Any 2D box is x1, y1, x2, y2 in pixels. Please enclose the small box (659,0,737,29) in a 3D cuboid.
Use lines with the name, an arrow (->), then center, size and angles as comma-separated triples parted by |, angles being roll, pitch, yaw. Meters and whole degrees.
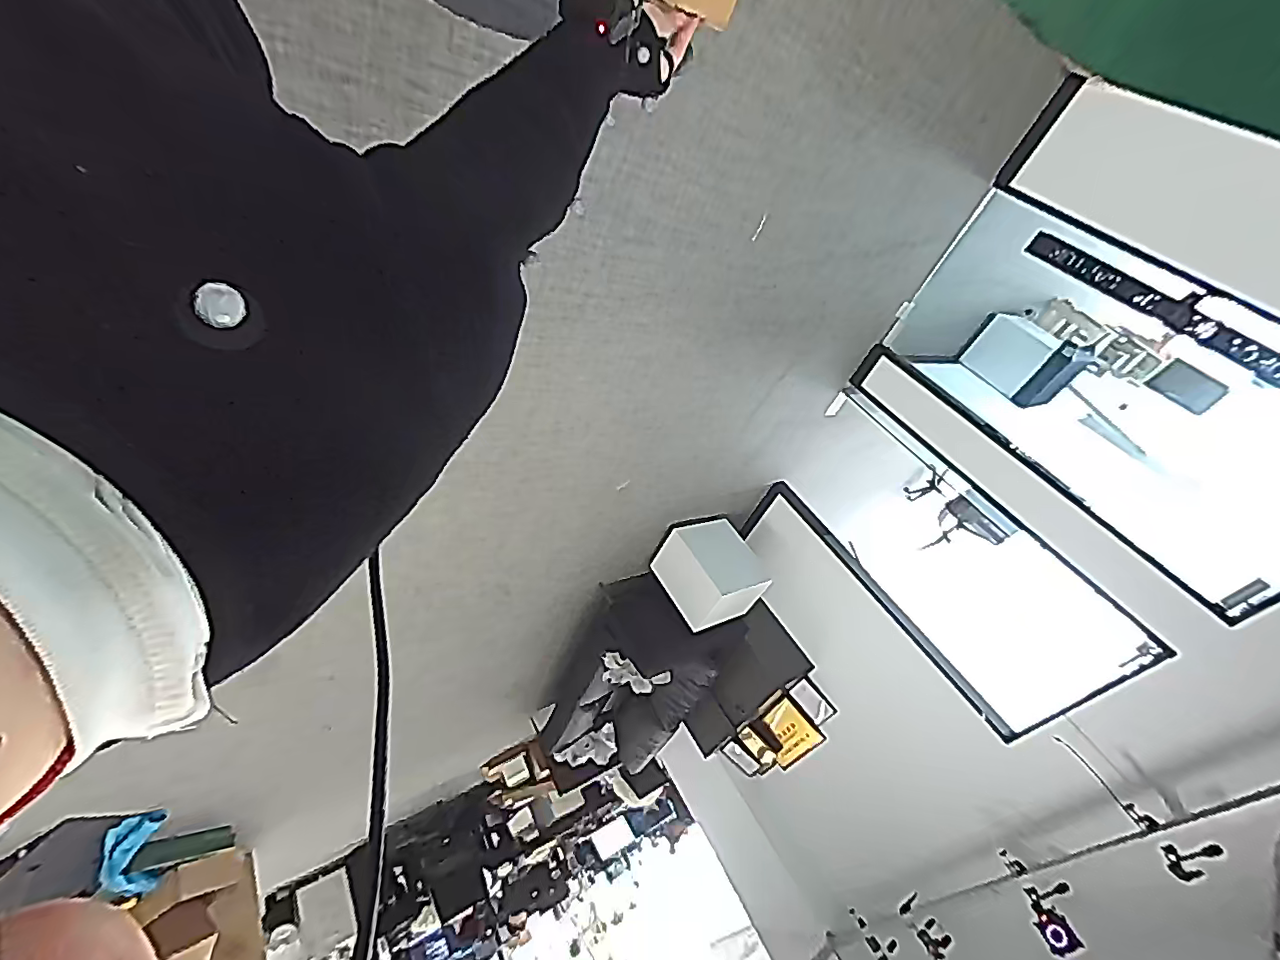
small box -> 0.023, -0.626, 0.565 | 0.168, 0.176, 0.179 | -10, 141, -35
